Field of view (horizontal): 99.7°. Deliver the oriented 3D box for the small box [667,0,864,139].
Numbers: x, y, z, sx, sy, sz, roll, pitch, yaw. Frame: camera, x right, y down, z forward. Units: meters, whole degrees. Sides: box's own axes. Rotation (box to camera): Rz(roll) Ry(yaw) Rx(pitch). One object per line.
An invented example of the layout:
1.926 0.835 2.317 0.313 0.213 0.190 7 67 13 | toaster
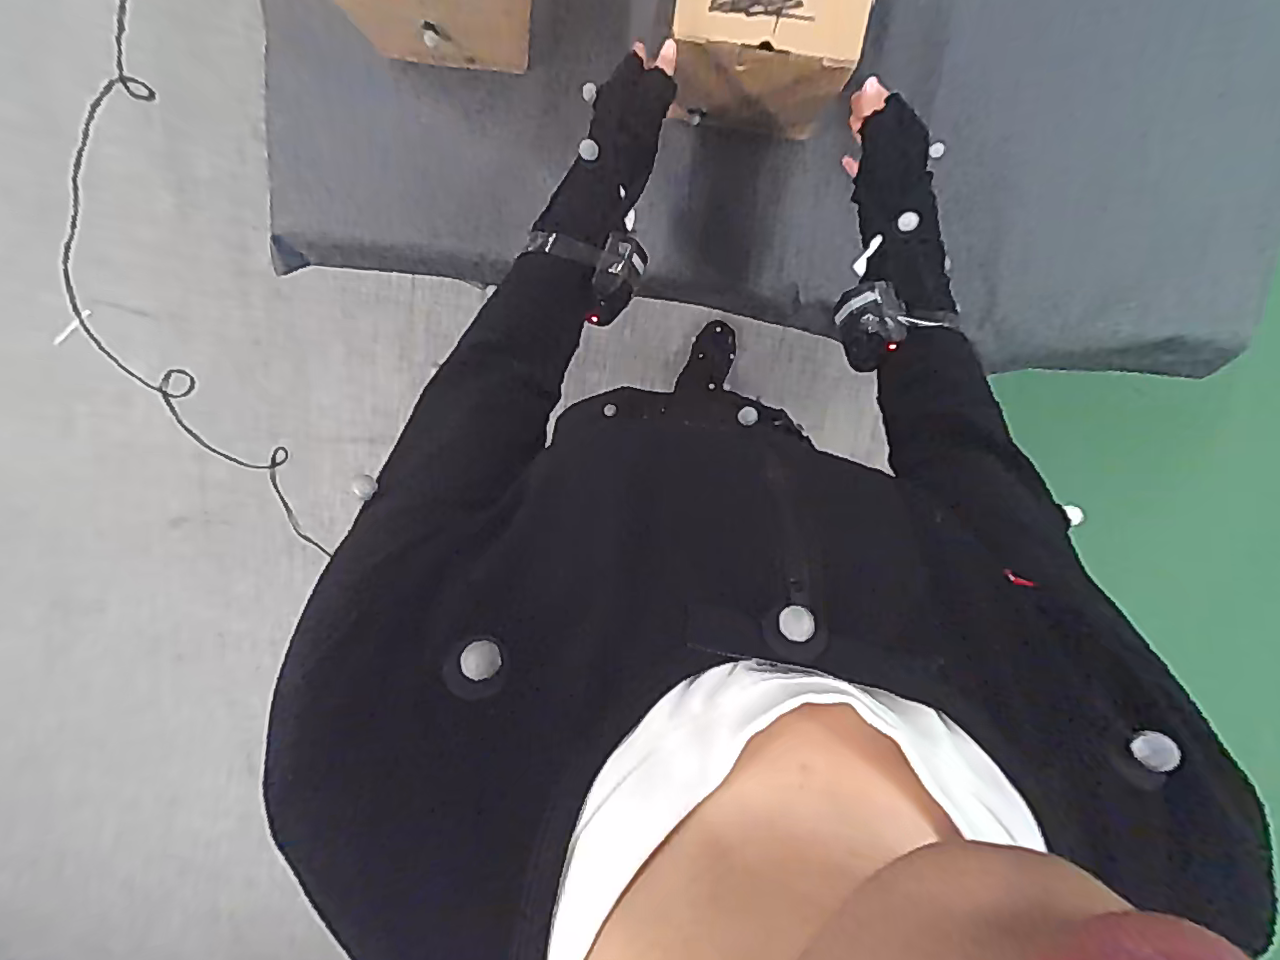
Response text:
0.122 -0.472 0.537 0.168 0.176 0.179 9 102 0 | small box
